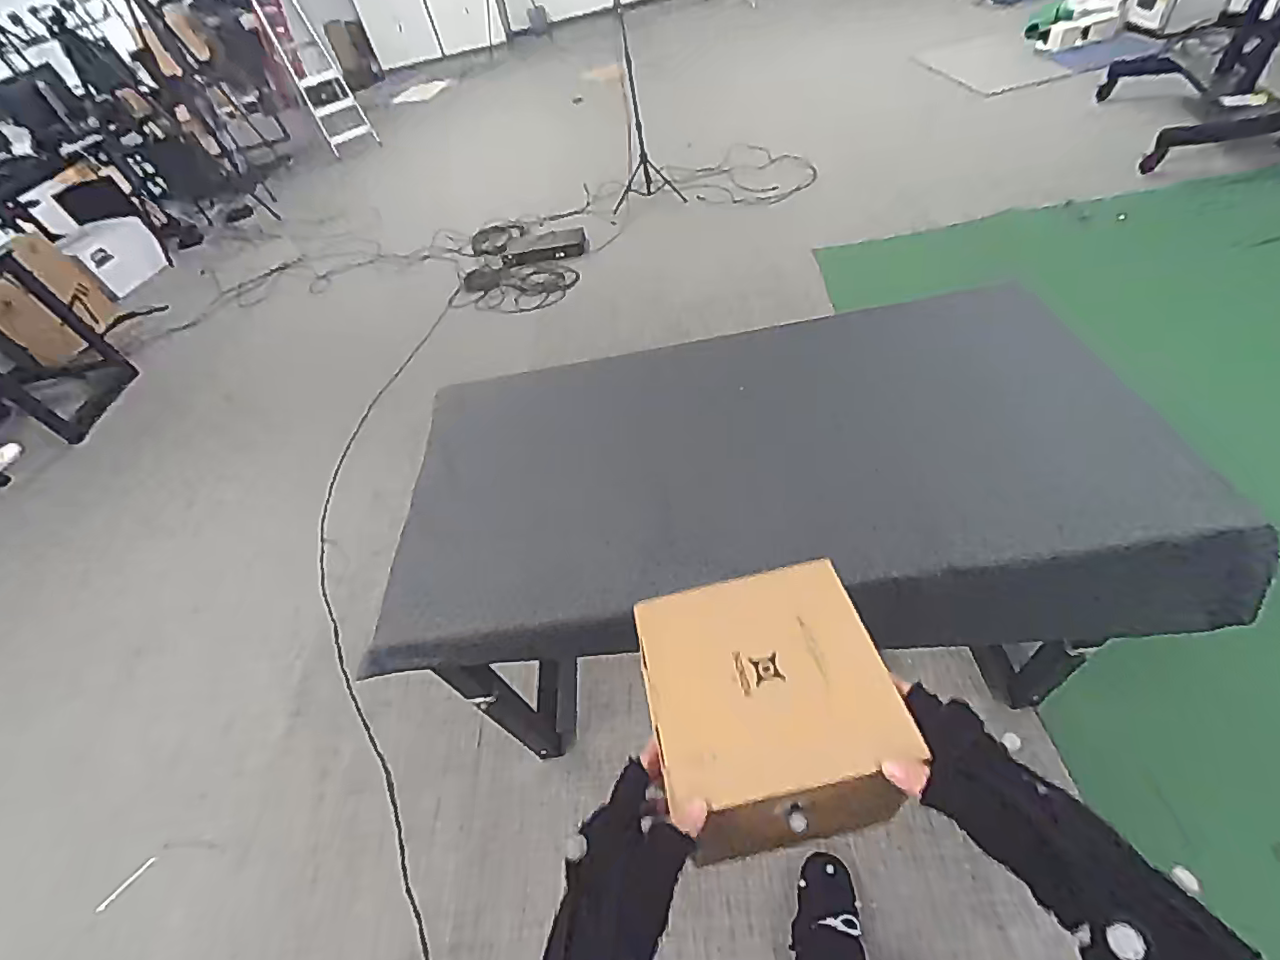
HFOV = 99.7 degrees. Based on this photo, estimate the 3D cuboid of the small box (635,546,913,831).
[{"bbox_3d":[0.104,0.188,0.482,0.179,0.176,0.168,-13,46,-2],"label":"small box"}]
